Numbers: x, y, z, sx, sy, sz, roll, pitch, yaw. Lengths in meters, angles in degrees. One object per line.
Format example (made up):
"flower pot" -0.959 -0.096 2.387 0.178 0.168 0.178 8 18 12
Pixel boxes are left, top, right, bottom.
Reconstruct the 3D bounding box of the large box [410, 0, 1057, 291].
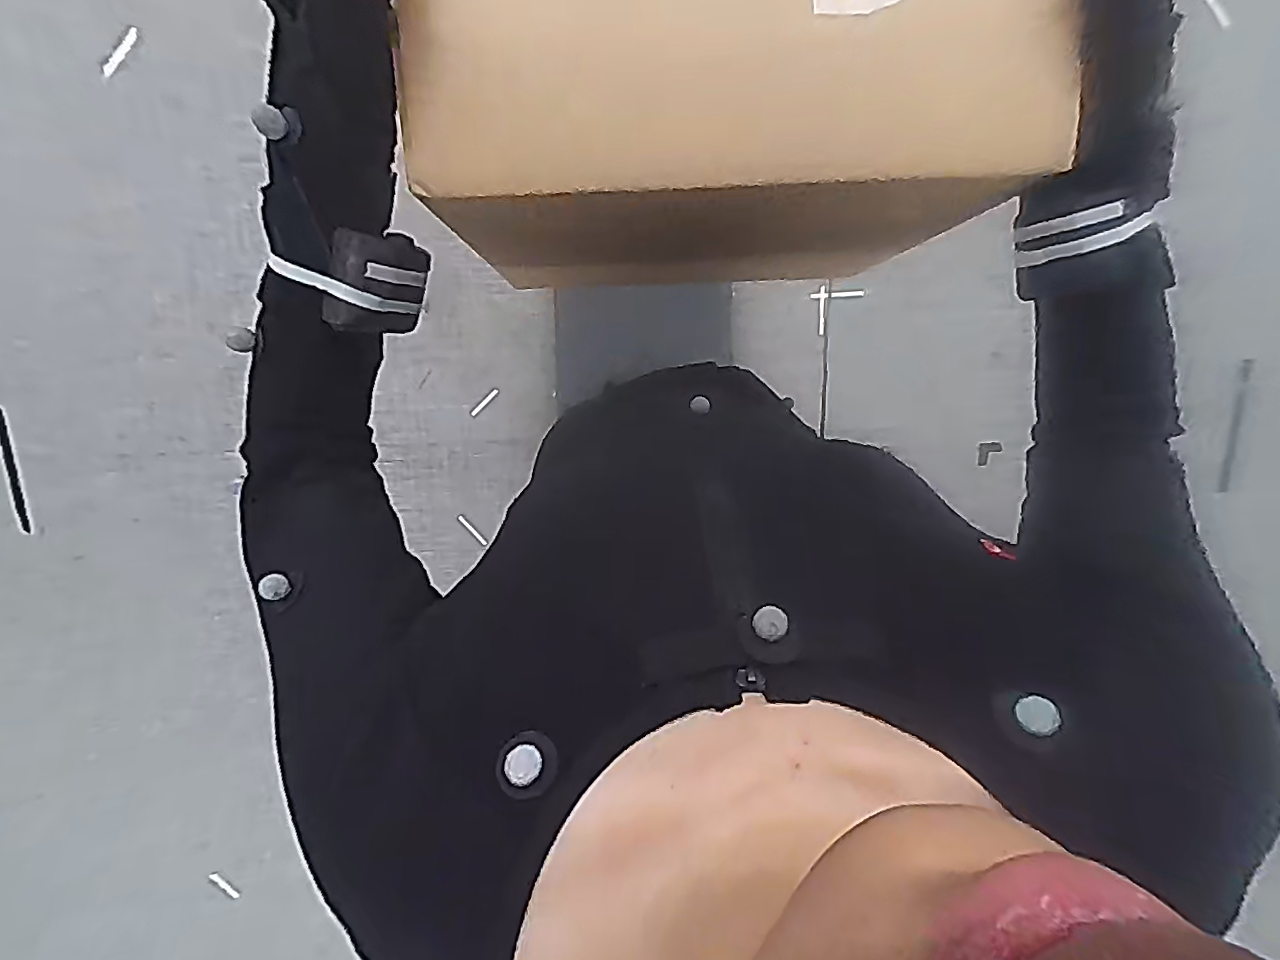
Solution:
"large box" 0.049 -0.363 0.468 0.408 0.320 0.320 -3 99 -2
